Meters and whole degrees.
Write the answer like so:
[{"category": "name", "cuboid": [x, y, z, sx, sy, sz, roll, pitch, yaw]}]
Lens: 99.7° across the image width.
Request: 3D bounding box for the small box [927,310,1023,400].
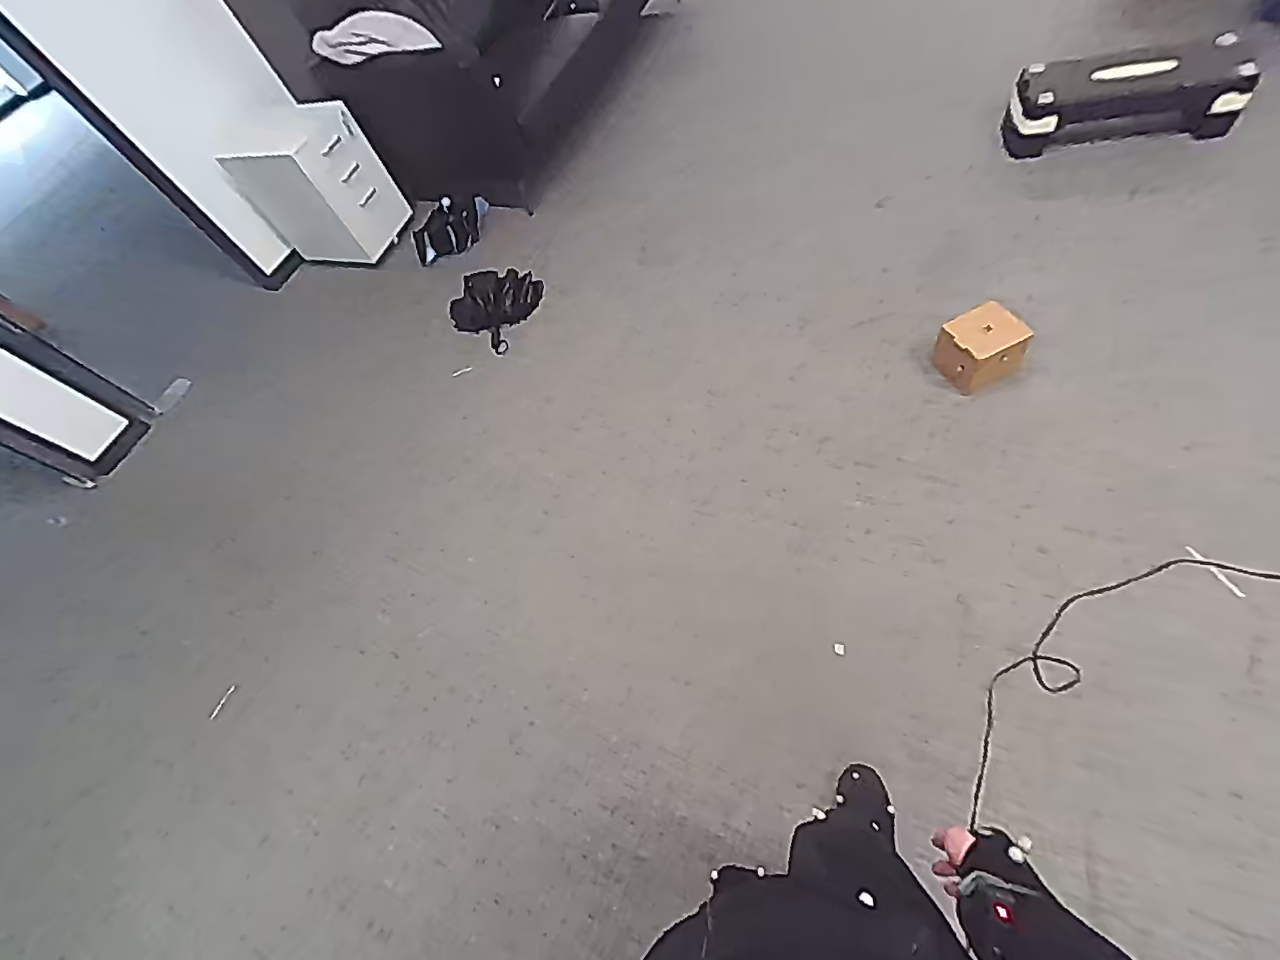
[{"category": "small box", "cuboid": [1.007, -0.374, 1.647, 0.179, 0.176, 0.168, -26, 58, -2]}]
